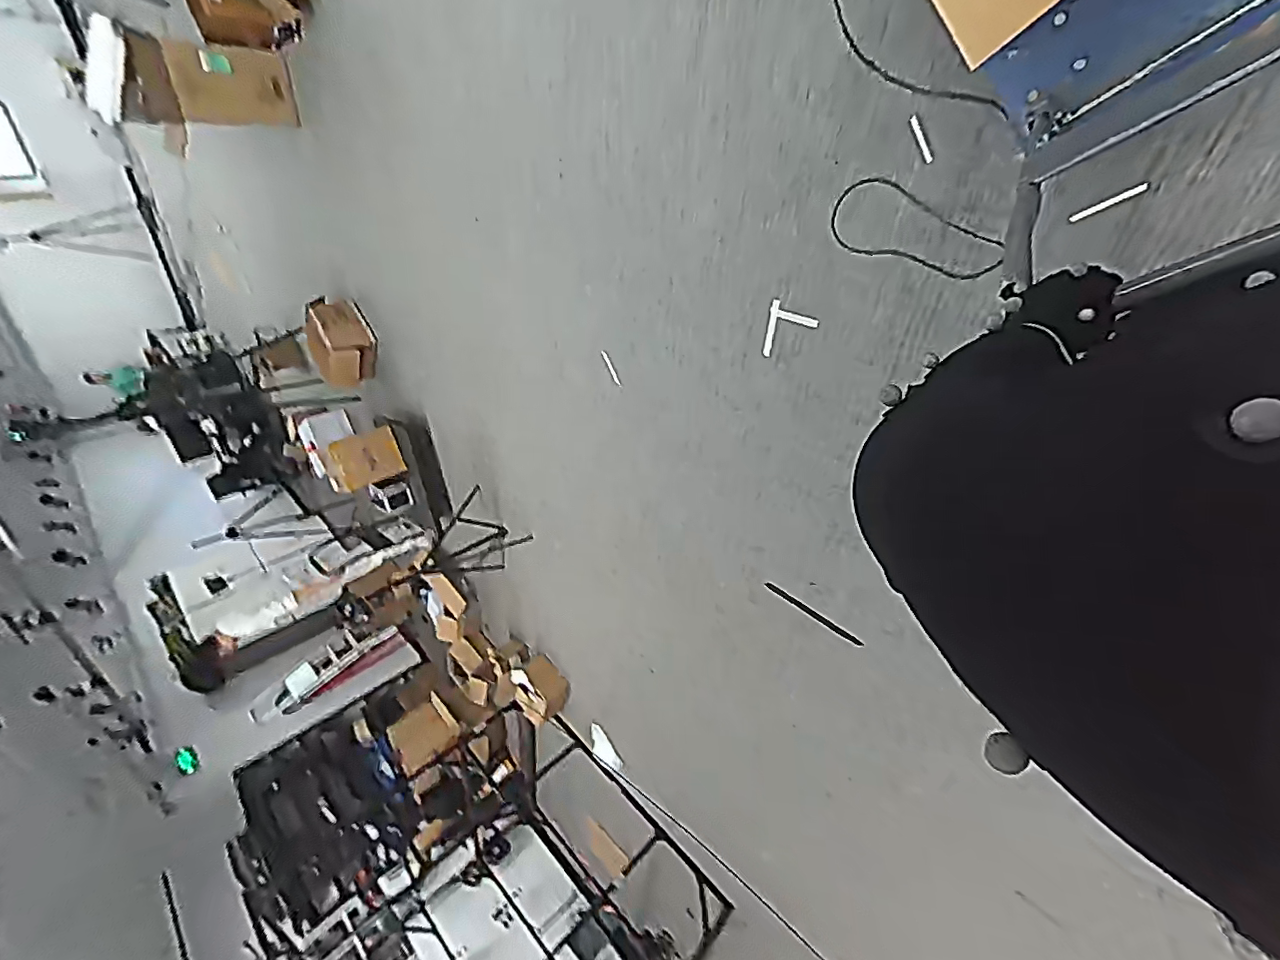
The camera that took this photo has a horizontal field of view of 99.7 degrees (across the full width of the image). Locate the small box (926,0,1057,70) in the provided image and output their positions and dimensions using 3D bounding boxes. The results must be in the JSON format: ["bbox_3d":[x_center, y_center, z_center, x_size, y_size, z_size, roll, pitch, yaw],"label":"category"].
[{"bbox_3d":[0.560,-0.781,0.824,0.168,0.176,0.179,48,143,-13],"label":"small box"}]
